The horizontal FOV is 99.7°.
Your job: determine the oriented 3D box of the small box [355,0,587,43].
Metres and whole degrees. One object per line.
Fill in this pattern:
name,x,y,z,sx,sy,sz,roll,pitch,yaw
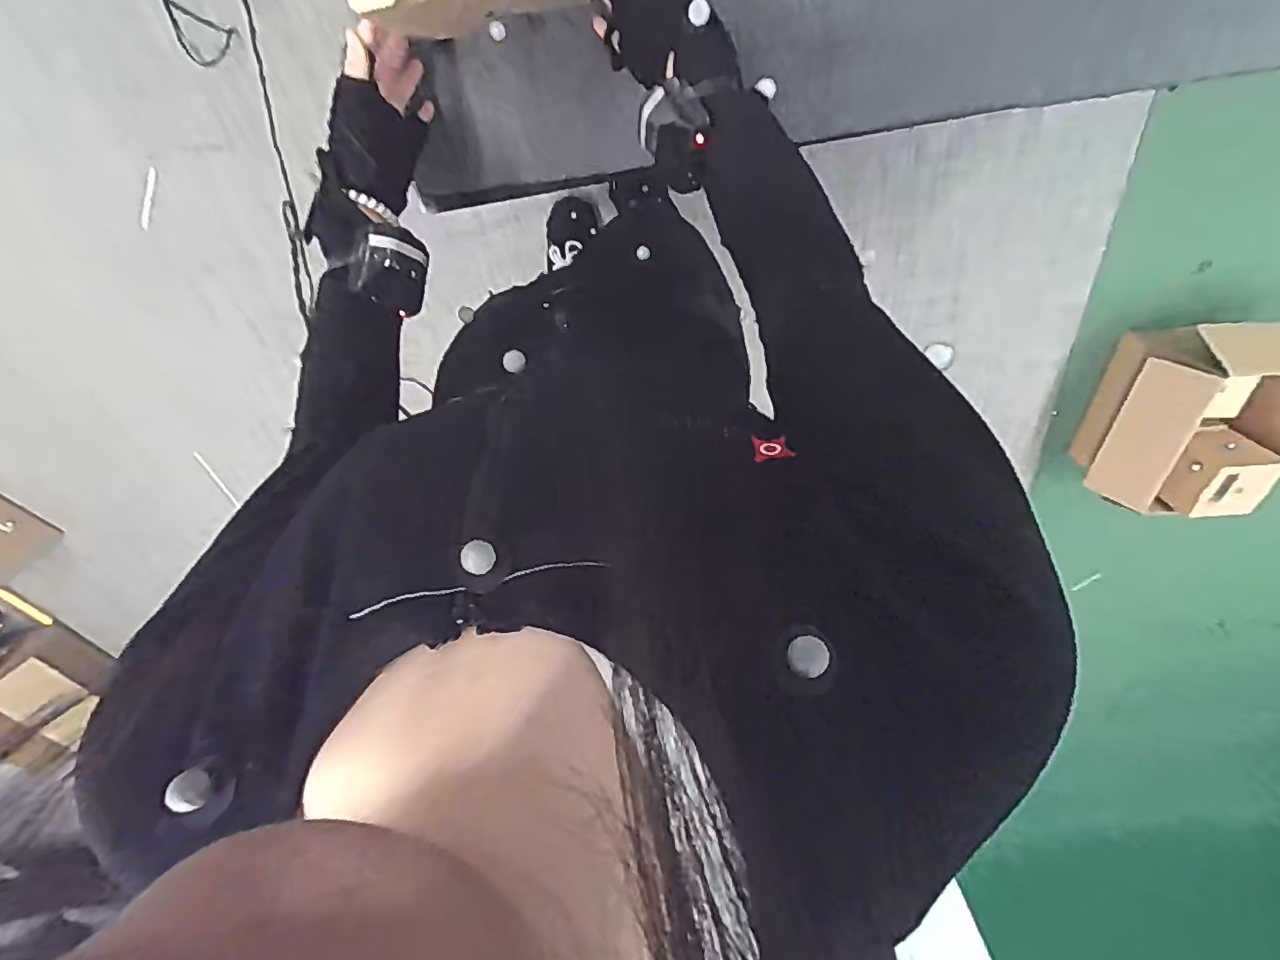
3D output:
small box,-0.132,-0.444,0.380,0.168,0.176,0.179,-11,123,4
